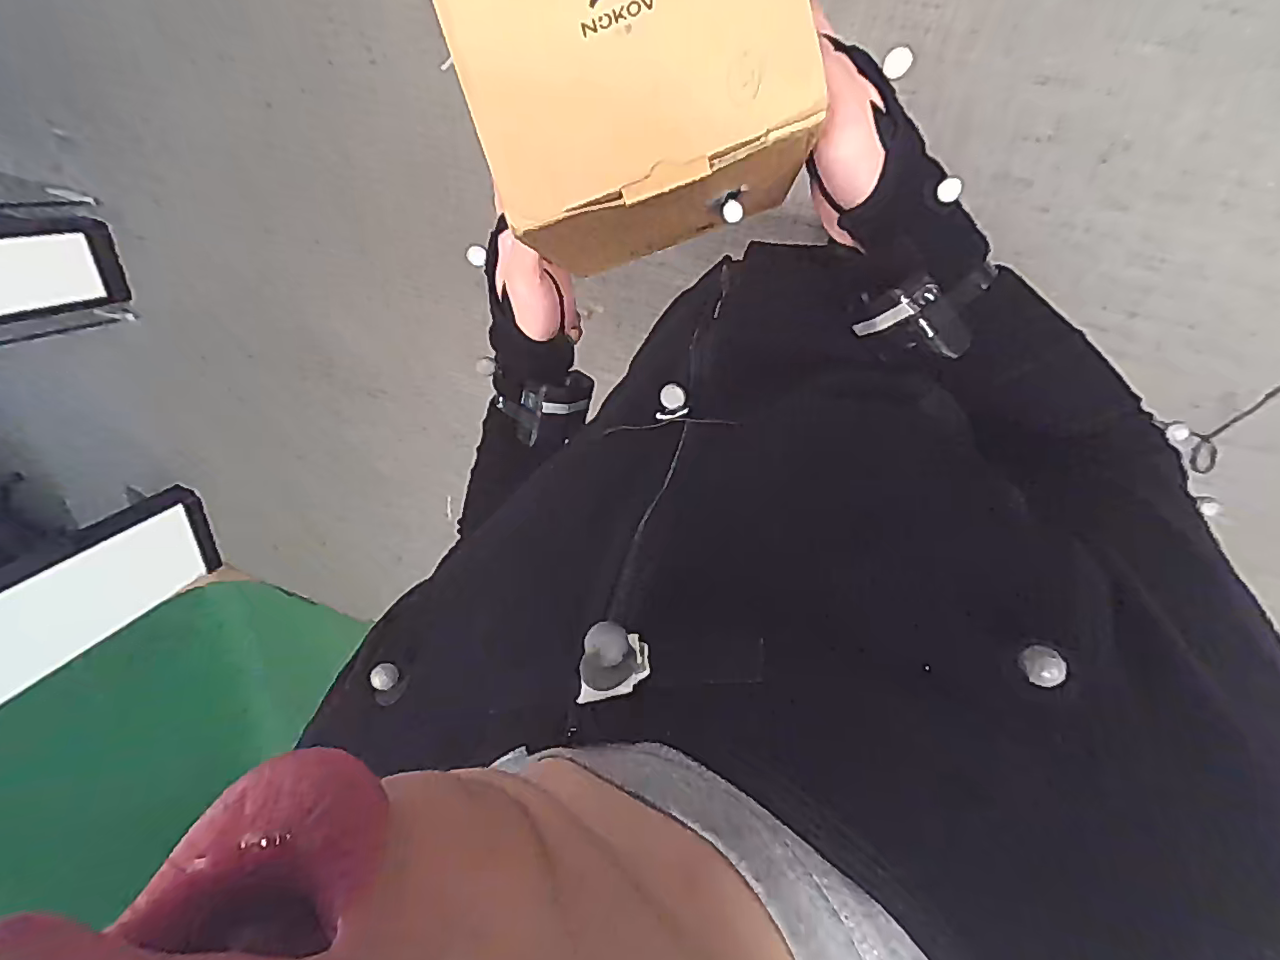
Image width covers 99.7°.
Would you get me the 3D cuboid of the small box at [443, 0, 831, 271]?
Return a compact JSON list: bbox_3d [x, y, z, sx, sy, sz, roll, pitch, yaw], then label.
[{"bbox_3d":[-0.001,-0.243,0.331,0.168,0.176,0.179,-16,99,9],"label":"small box"}]
